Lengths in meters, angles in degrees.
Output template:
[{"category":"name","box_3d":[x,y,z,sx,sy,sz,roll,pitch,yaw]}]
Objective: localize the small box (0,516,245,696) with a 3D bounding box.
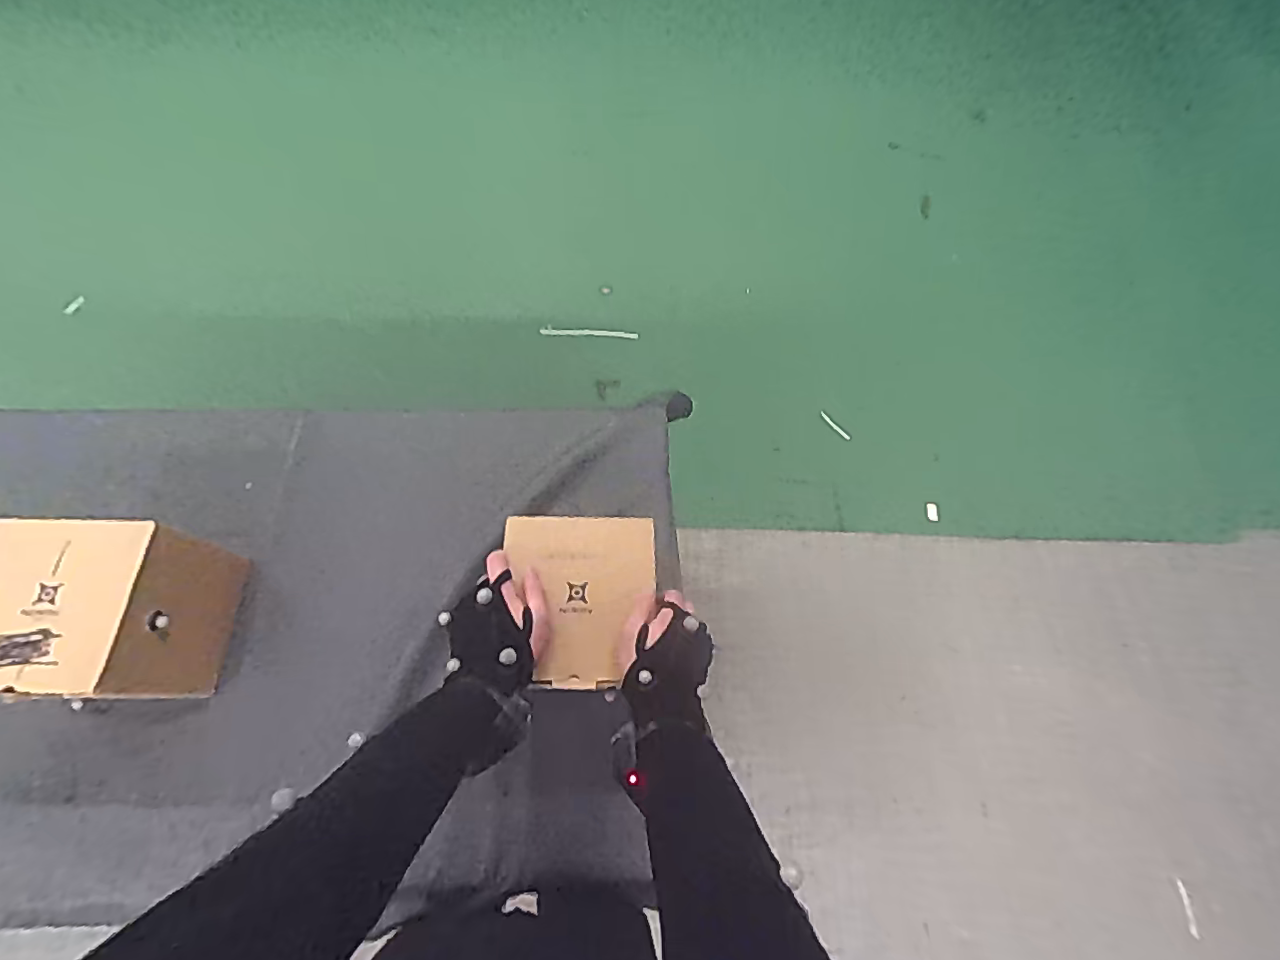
[{"category":"small box","box_3d":[-0.598,0.150,0.615,0.168,0.176,0.179,1,68,-2]}]

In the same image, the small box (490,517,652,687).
[{"category":"small box","box_3d":[-0.071,0.151,0.641,0.168,0.176,0.179,1,68,-3]}]
